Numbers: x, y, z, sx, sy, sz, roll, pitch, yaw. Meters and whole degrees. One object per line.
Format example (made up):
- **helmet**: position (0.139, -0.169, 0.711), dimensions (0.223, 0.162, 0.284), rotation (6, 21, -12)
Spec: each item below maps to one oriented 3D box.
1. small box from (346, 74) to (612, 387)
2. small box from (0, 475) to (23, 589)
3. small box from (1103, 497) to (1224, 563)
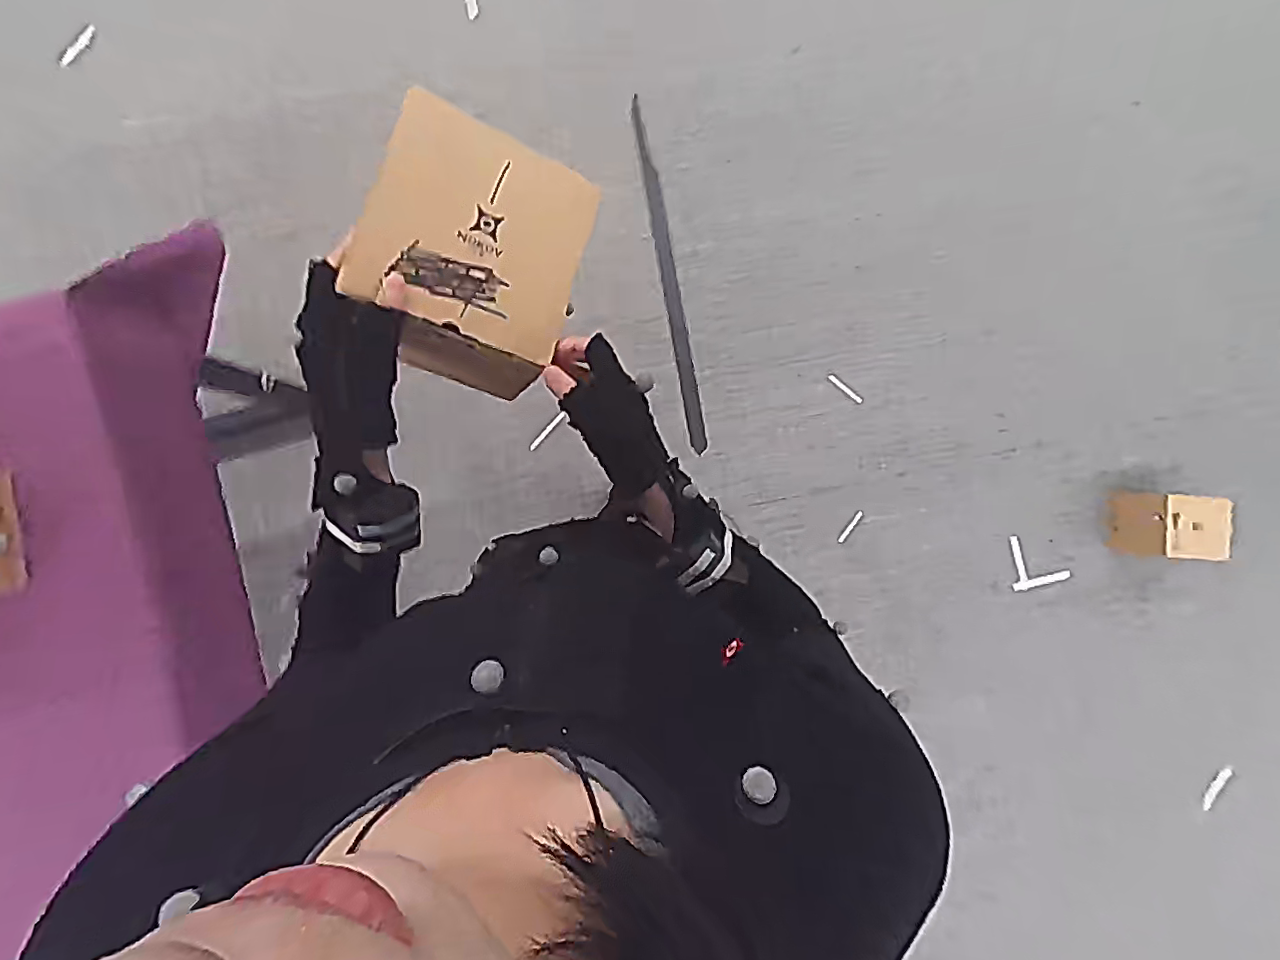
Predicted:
- **small box**: position (-0.148, -0.203, 0.502), dimensions (0.168, 0.176, 0.179), rotation (19, 81, -22)
- **small box**: position (-0.951, 0.082, 0.668), dimensions (0.179, 0.176, 0.168), rotation (-12, 90, -4)
- **small box**: position (1.456, 0.134, 1.510), dimensions (0.179, 0.176, 0.168), rotation (4, 88, -3)
